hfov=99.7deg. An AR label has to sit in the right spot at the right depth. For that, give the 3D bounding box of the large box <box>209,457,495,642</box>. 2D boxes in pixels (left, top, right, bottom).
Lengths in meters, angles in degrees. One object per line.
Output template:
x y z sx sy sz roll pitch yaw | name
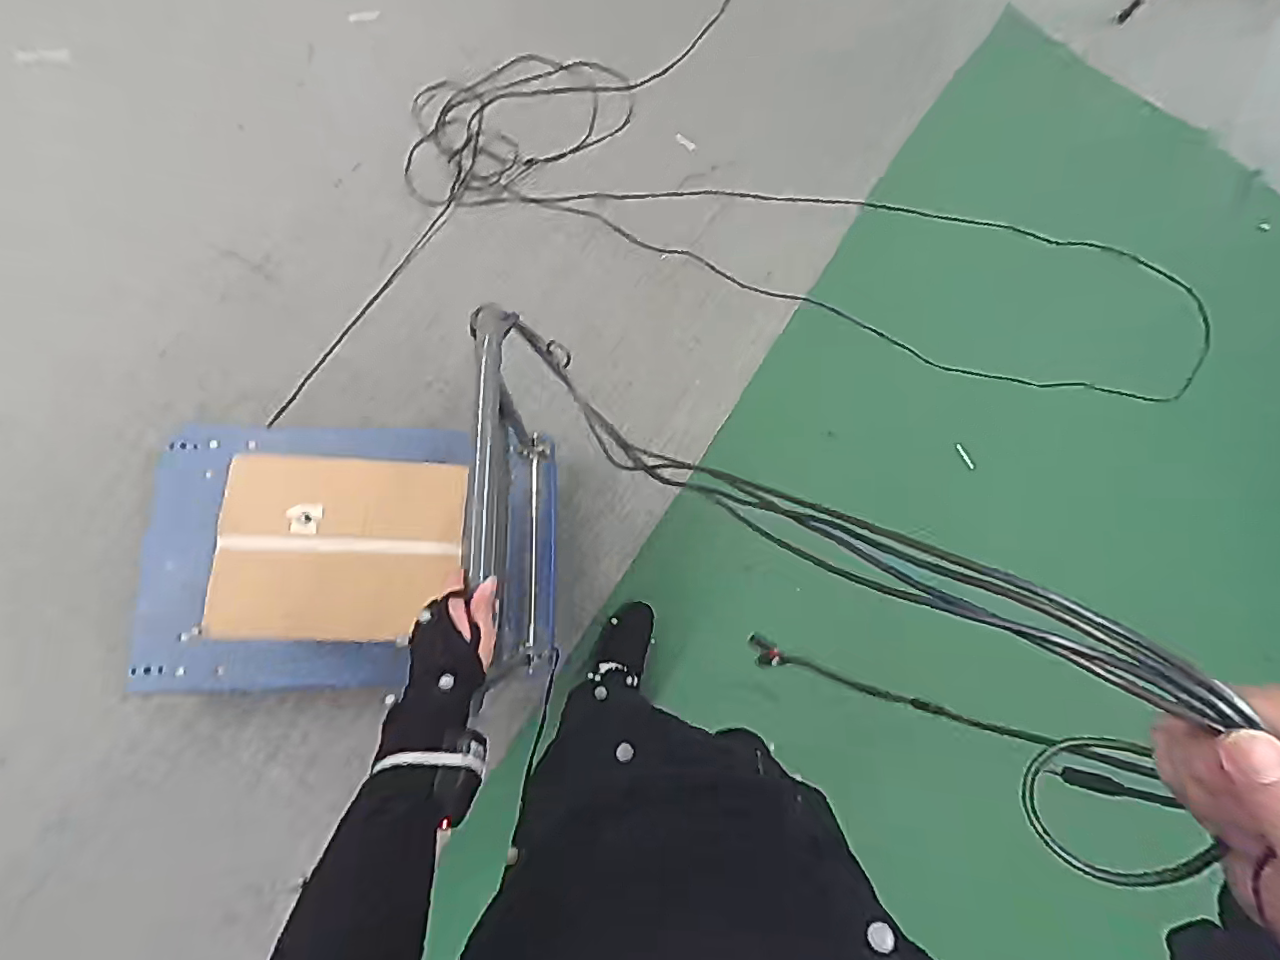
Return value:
-0.515 0.144 1.067 0.408 0.320 0.320 2 77 -6 | large box
